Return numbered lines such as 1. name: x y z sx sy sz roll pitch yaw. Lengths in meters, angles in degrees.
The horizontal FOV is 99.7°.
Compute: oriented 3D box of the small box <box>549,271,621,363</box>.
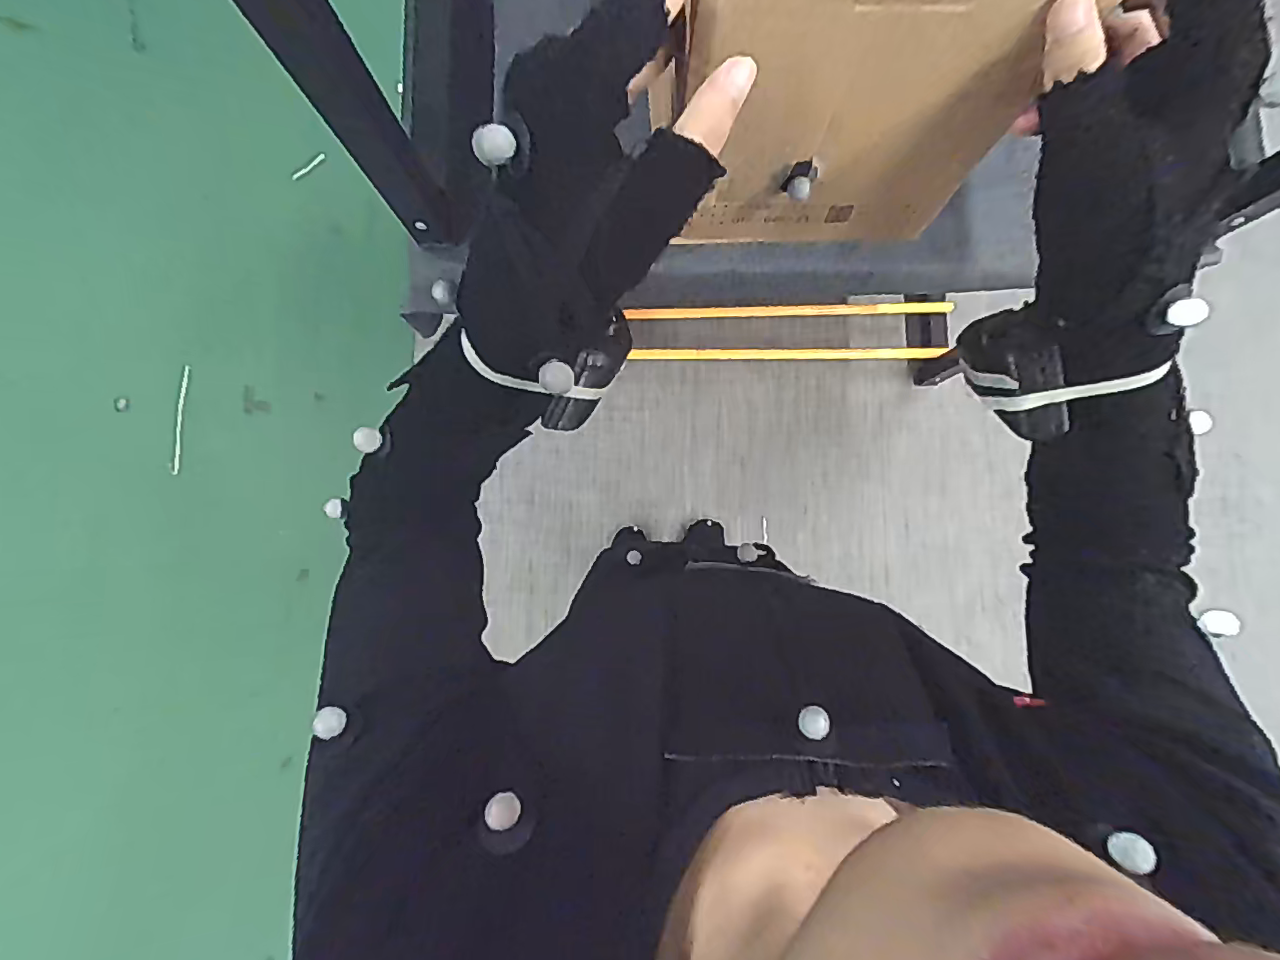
1. small box: -0.134 -0.408 1.368 0.168 0.176 0.179 -1 86 0
